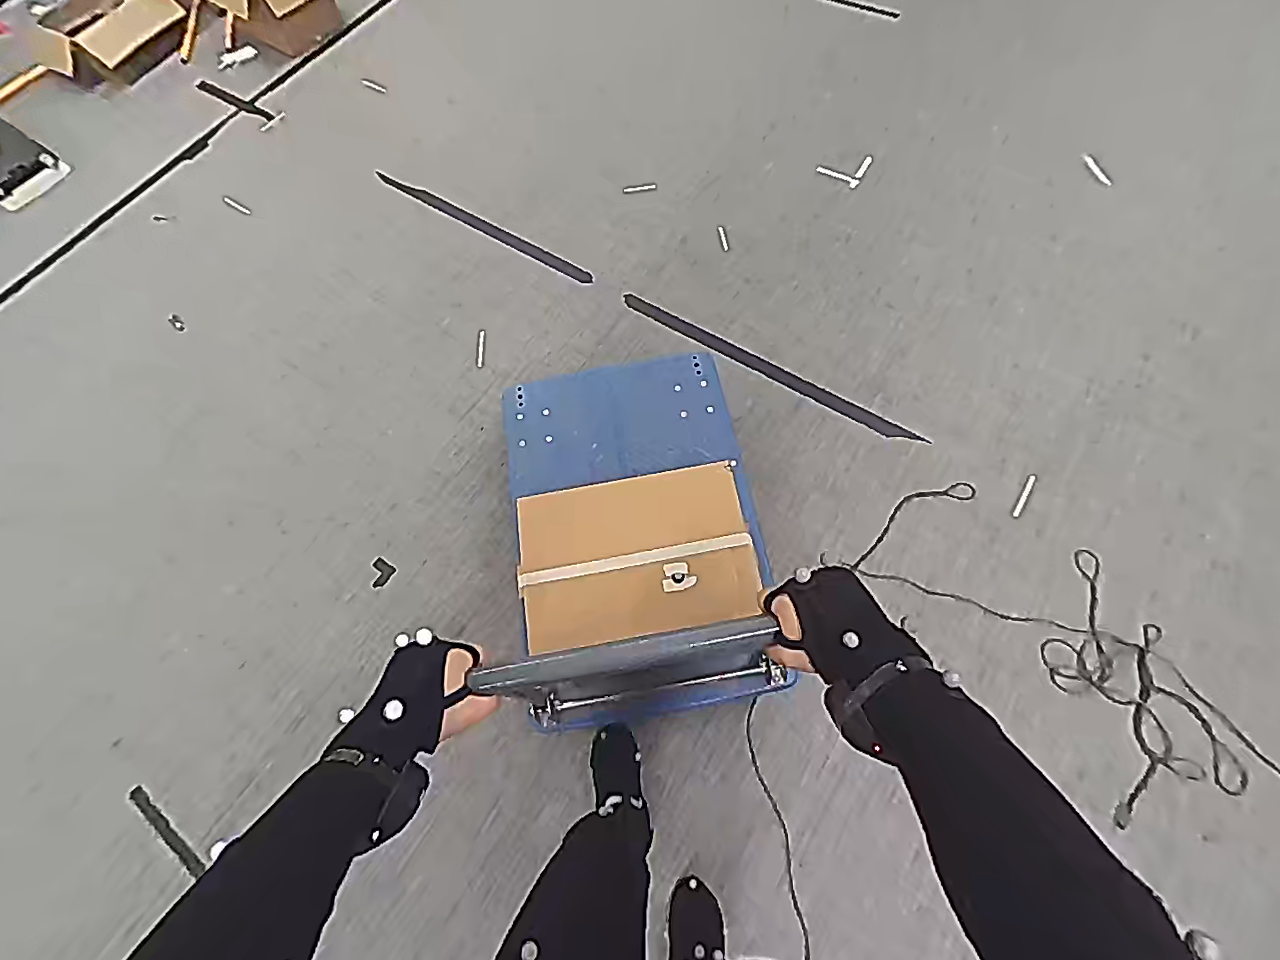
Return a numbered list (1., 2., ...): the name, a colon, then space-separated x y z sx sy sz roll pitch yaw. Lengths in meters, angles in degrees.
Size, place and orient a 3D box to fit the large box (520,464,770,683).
1. large box: 0.004 0.203 1.087 0.408 0.320 0.320 -10 67 -1
